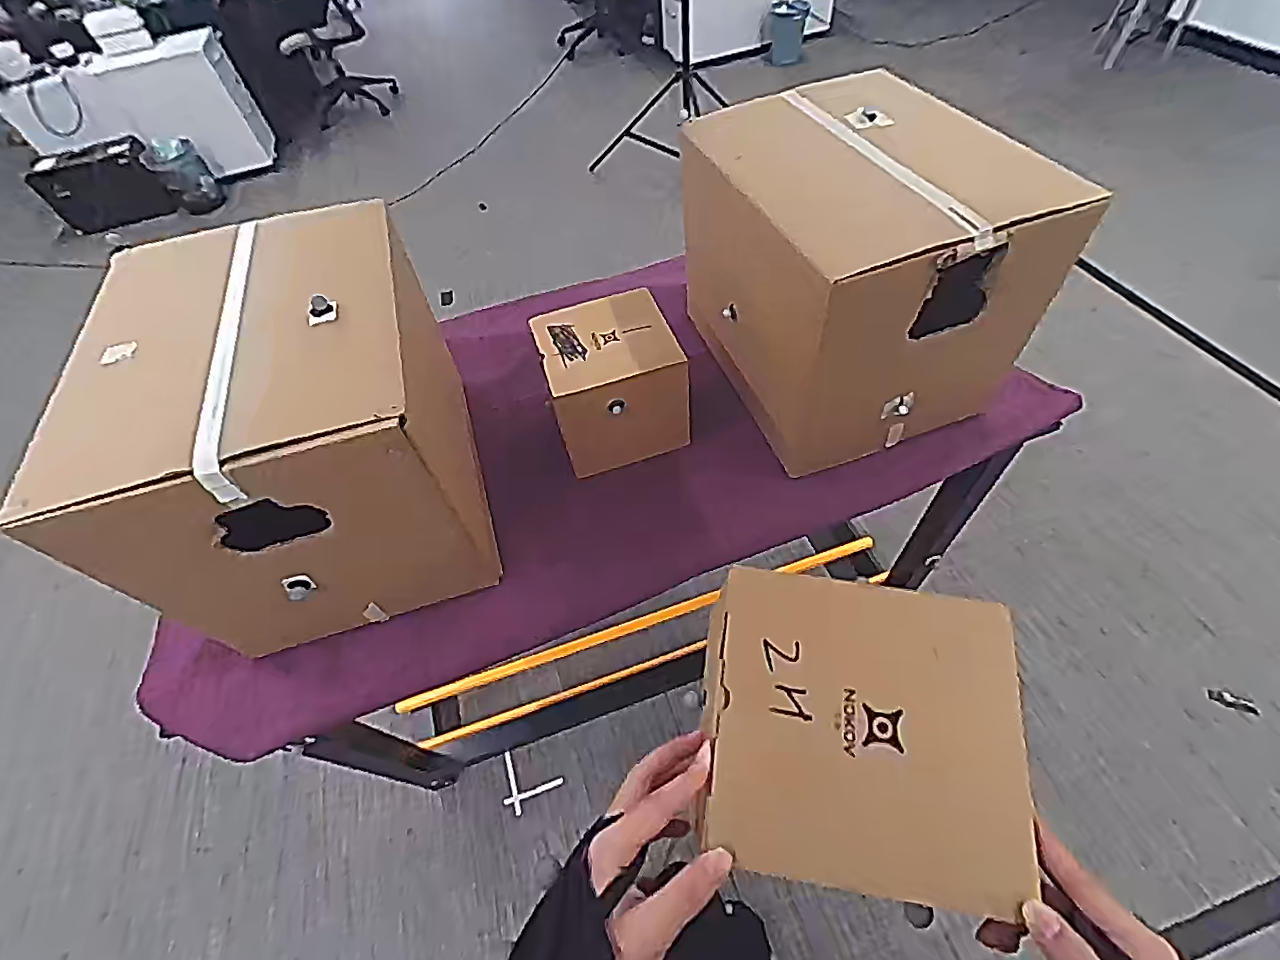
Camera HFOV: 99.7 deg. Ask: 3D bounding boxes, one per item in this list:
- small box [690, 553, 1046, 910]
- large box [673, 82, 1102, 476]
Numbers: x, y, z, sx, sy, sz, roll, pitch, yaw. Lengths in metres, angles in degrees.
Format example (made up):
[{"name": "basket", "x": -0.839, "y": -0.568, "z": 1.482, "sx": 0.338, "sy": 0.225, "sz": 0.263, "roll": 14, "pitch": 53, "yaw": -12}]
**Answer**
[{"name": "small box", "x": 0.134, "y": 0.164, "z": 0.382, "sx": 0.179, "sy": 0.176, "sz": 0.168, "roll": 7, "pitch": 66, "yaw": 6}, {"name": "large box", "x": 0.270, "y": -0.281, "z": 0.749, "sx": 0.320, "sy": 0.320, "sz": 0.408, "roll": -18, "pitch": 53, "yaw": -7}]
